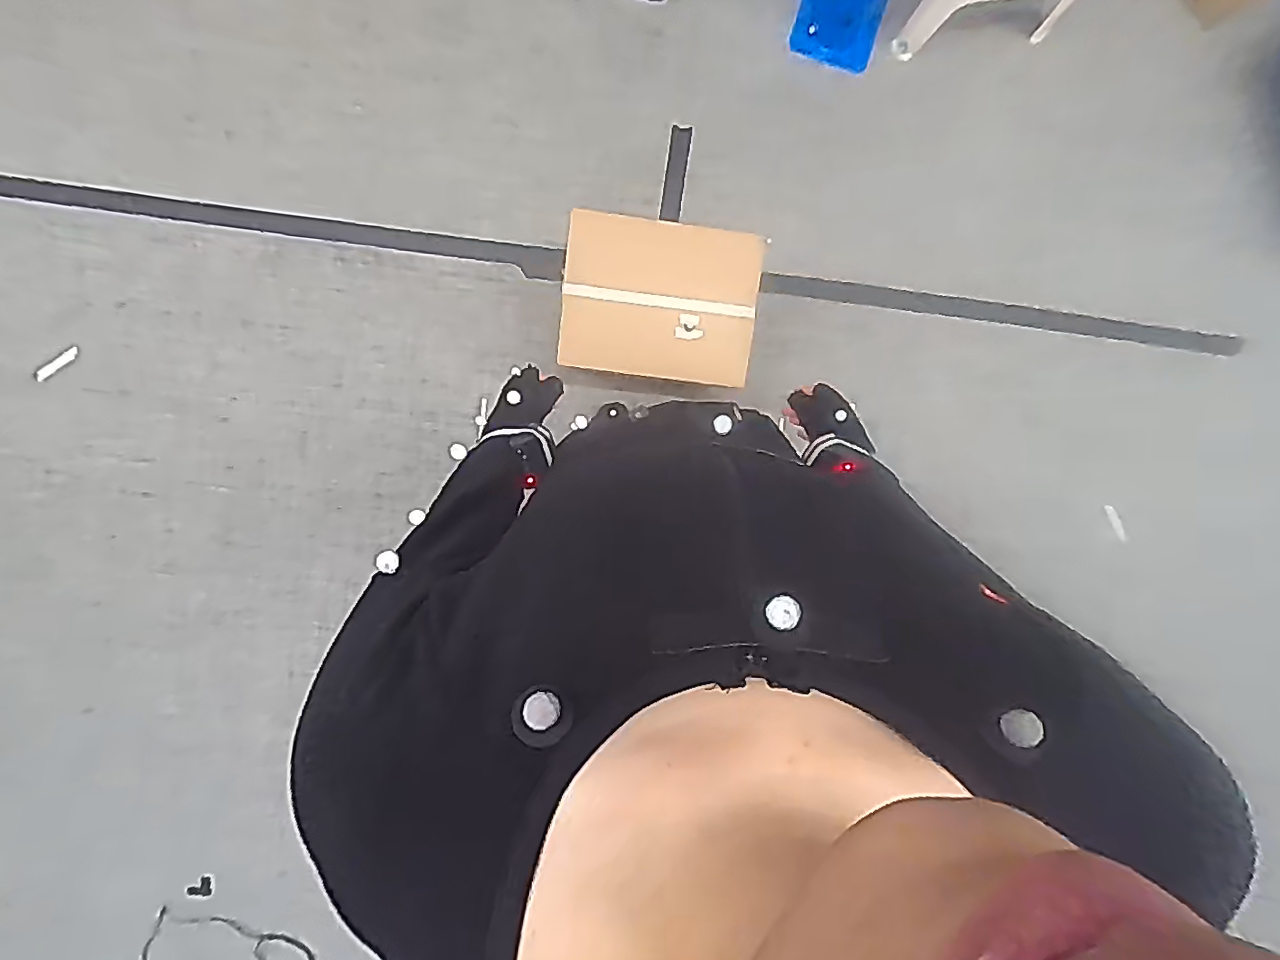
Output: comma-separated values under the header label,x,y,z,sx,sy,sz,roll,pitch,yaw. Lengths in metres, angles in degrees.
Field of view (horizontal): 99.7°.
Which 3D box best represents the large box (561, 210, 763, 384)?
label,x,y,z,sx,sy,sz,roll,pitch,yaw
large box,0.034,-0.403,1.274,0.408,0.320,0.320,6,100,-4
